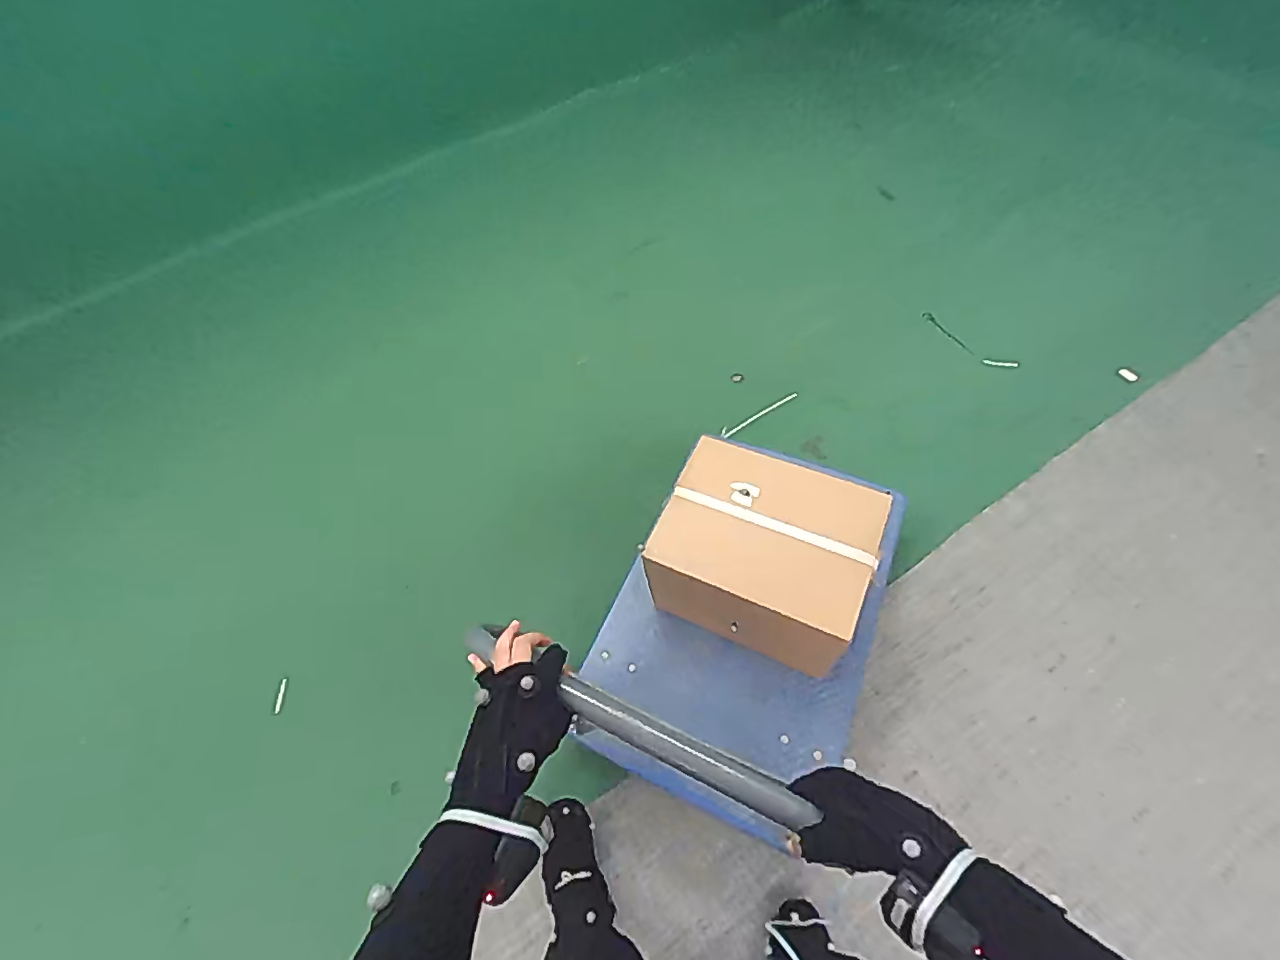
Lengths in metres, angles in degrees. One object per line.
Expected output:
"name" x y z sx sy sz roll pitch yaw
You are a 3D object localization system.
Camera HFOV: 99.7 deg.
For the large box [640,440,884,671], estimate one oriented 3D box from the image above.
"large box" 0.261 0.168 1.184 0.408 0.320 0.320 19 62 20
